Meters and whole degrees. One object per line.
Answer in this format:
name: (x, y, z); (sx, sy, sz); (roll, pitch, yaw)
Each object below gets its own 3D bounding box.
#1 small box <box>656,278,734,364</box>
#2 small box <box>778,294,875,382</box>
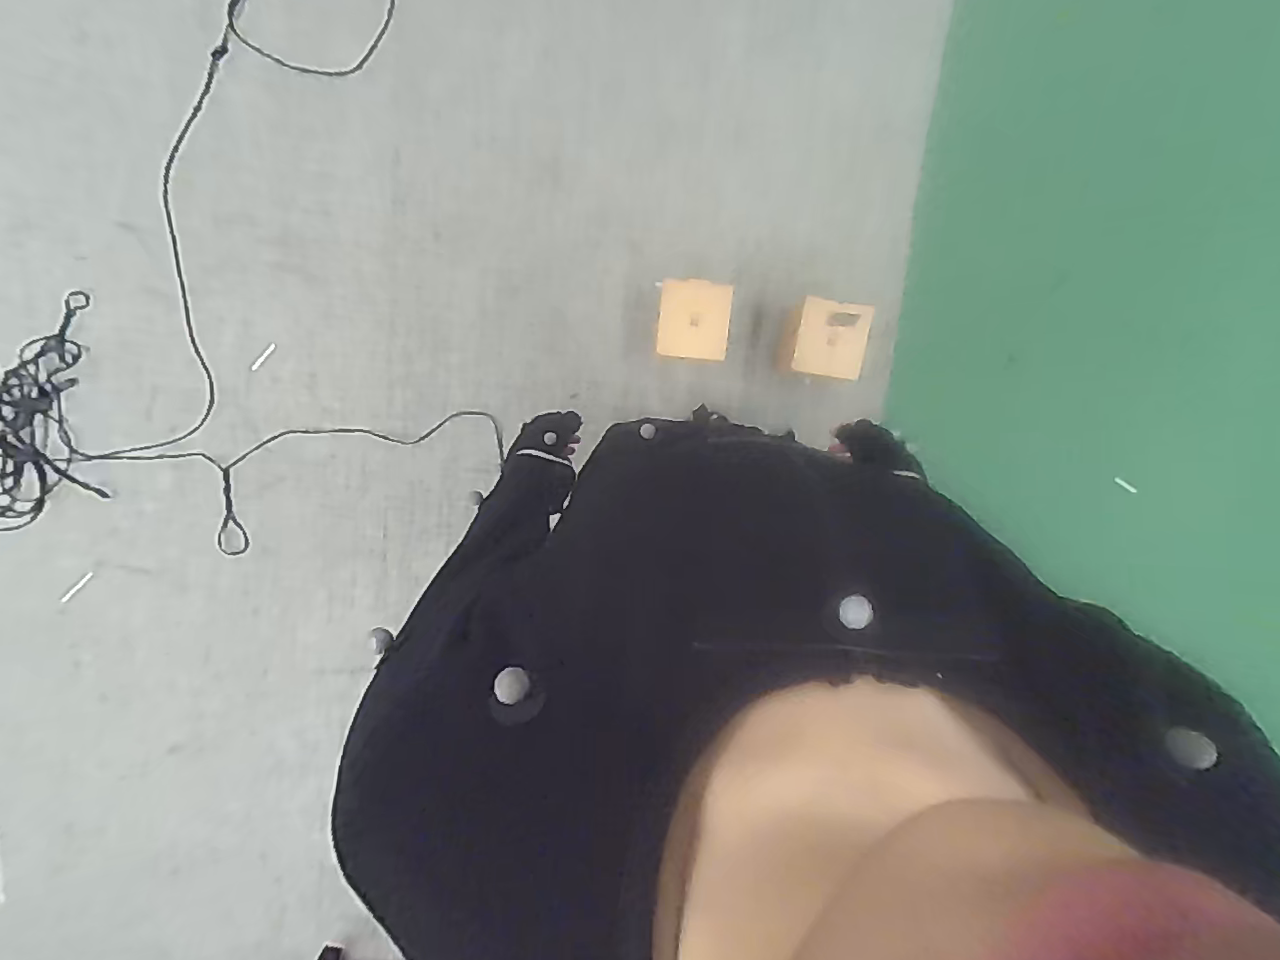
small box: (0.129, -0.385, 1.337); (0.168, 0.176, 0.179); (5, 98, -1)
small box: (0.452, -0.345, 1.340); (0.168, 0.176, 0.179); (9, 99, -1)
